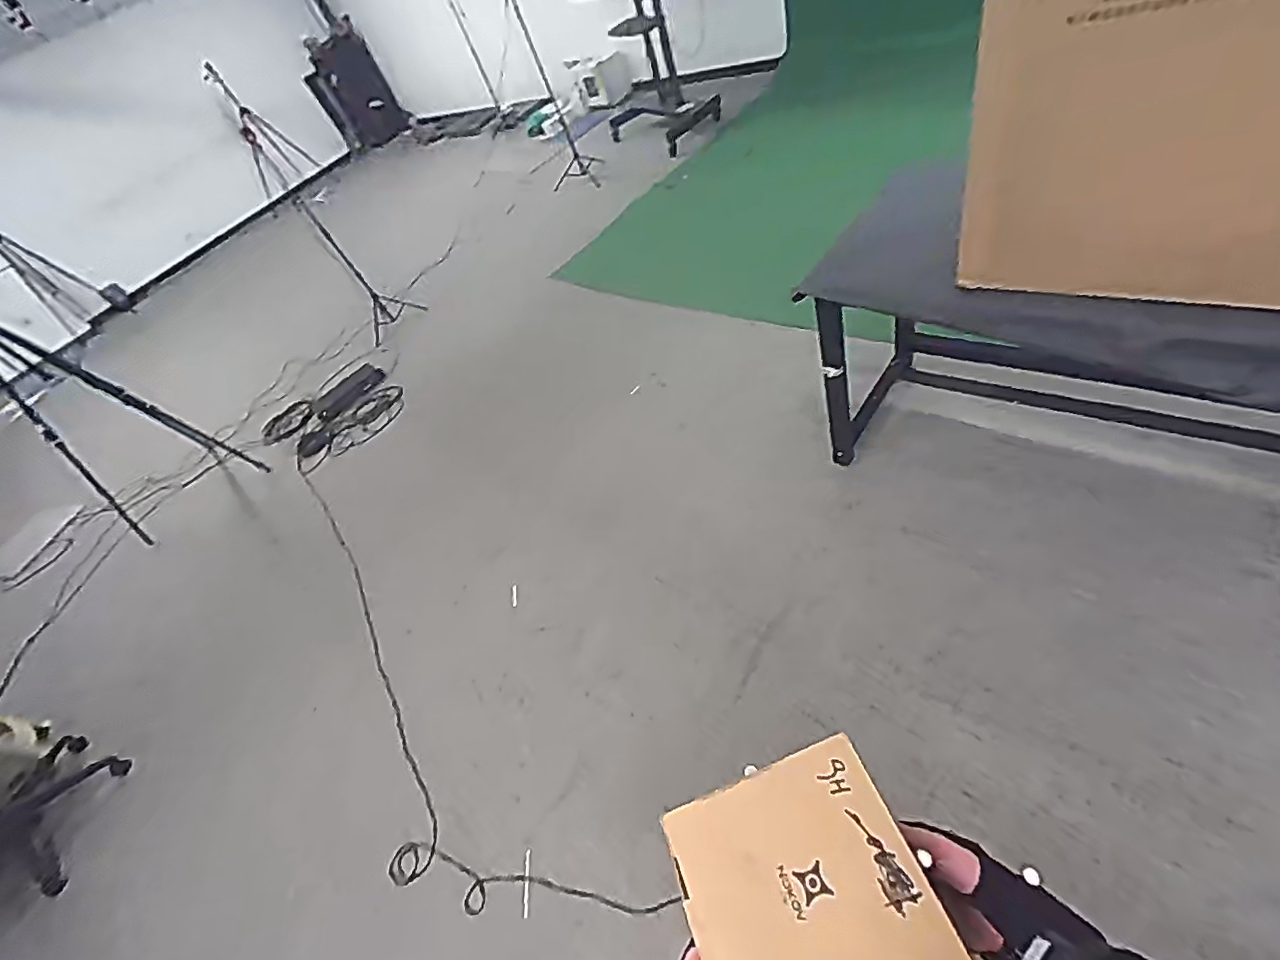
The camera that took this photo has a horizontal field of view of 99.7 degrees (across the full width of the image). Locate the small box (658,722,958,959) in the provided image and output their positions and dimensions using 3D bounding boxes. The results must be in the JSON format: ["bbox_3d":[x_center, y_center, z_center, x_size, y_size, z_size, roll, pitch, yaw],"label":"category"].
[{"bbox_3d":[0.137,0.342,0.483,0.179,0.176,0.168,-23,56,1],"label":"small box"}]
